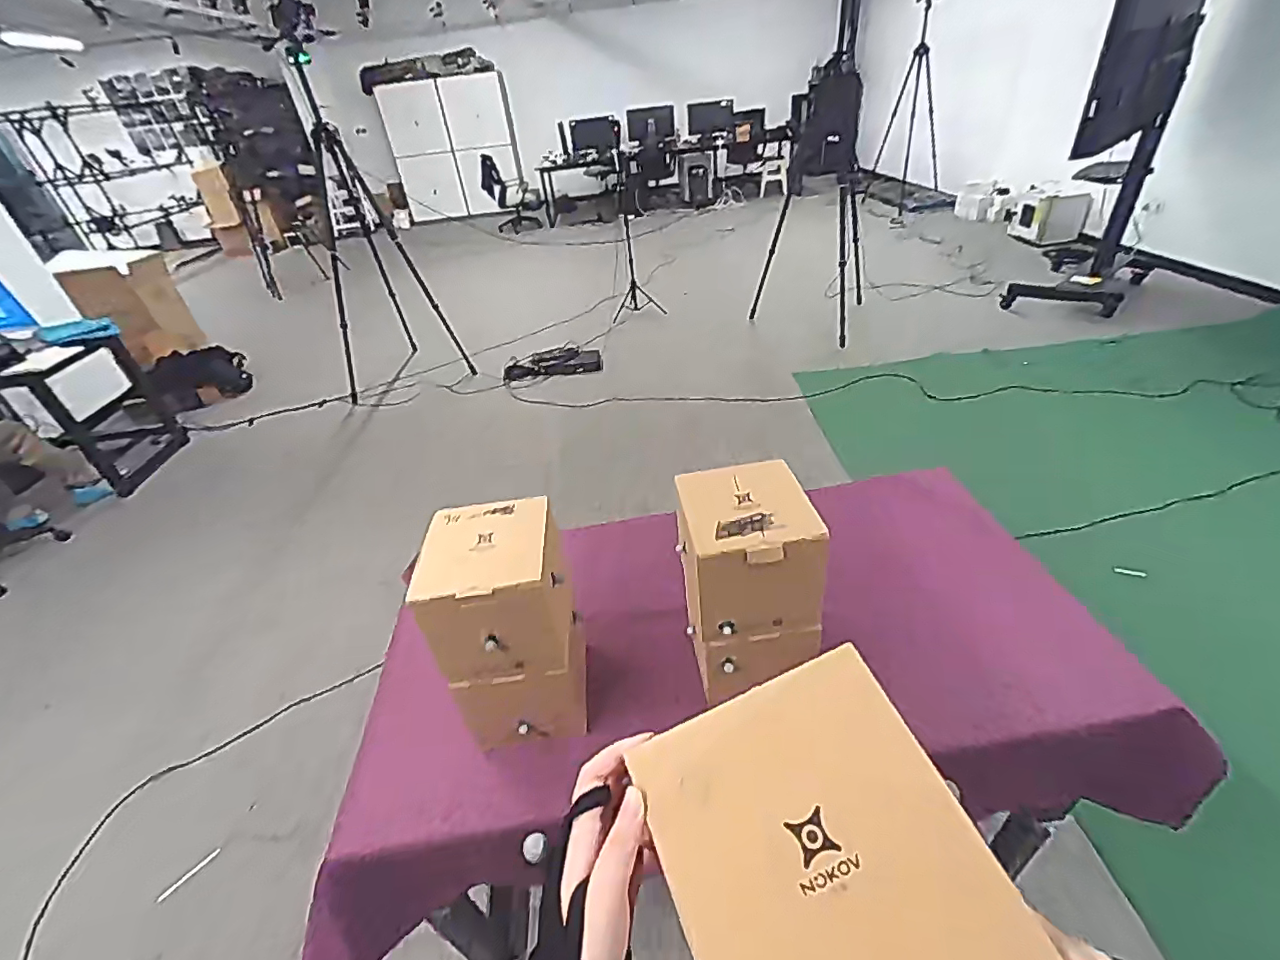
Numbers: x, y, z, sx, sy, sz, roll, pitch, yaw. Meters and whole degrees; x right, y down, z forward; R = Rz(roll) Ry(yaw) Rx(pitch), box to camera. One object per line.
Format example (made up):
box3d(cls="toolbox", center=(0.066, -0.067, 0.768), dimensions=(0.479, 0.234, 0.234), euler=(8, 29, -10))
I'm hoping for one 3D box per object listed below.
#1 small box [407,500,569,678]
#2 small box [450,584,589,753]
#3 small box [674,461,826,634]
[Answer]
box3d(cls="small box", center=(-0.194, 0.155, 0.751), dimensions=(0.168, 0.176, 0.179), euler=(-8, 36, -1))
box3d(cls="small box", center=(-0.176, 0.290, 0.844), dimensions=(0.168, 0.176, 0.179), euler=(-9, 35, -1))
box3d(cls="small box", center=(0.148, 0.099, 0.764), dimensions=(0.168, 0.176, 0.179), euler=(-9, 34, -2))
